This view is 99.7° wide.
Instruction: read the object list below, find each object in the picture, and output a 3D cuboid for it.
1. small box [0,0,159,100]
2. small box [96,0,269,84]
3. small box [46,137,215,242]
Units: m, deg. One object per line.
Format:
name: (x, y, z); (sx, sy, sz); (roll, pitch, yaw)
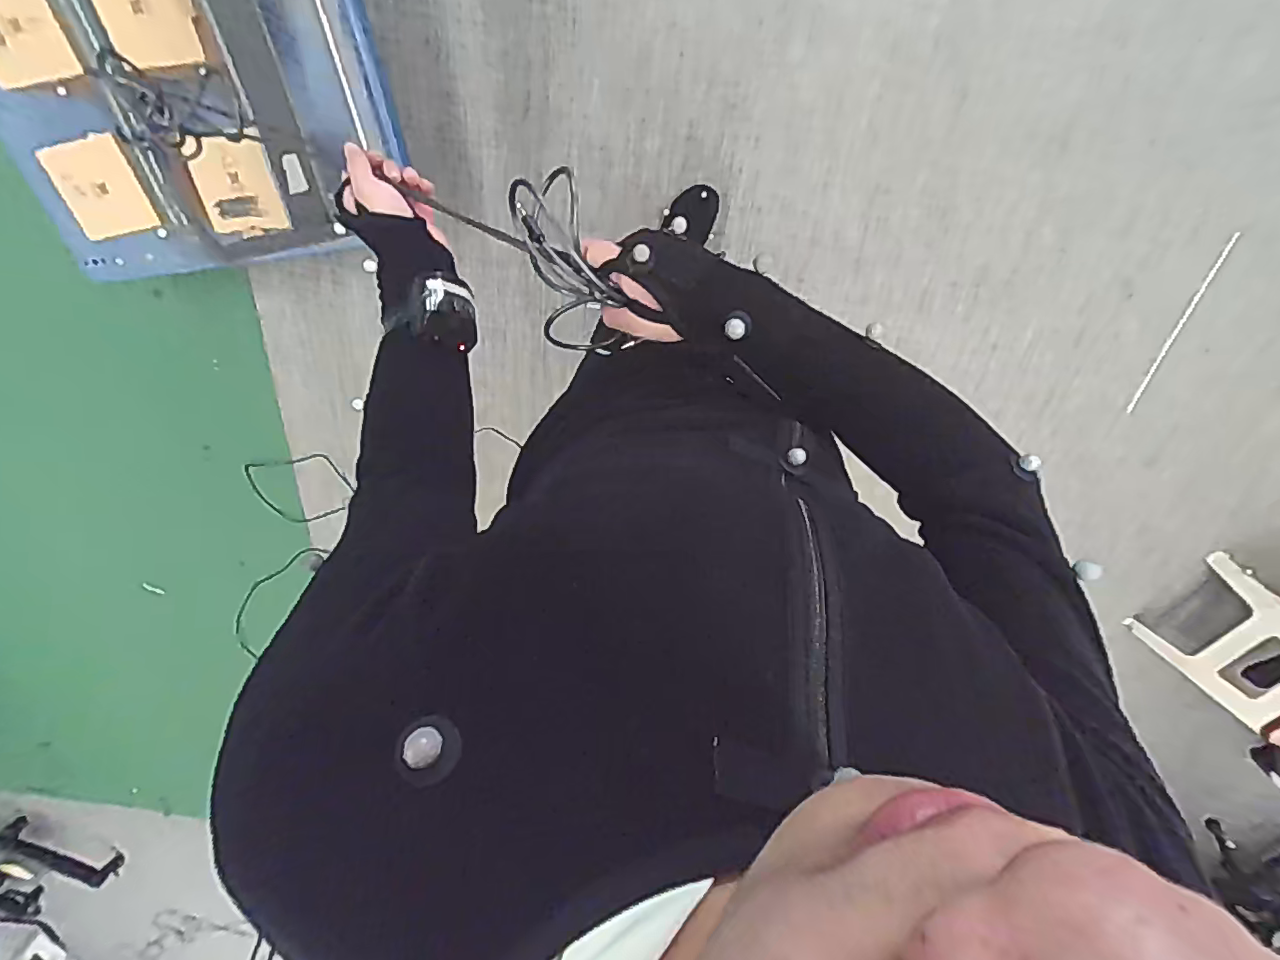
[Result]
small box: (-1.096, -0.842, 1.029); (0.179, 0.176, 0.168); (-6, 120, 6)
small box: (-0.853, -0.857, 1.008); (0.179, 0.176, 0.168); (-3, 120, 5)
small box: (-1.066, -0.622, 1.157); (0.179, 0.176, 0.168); (-8, 119, 8)
